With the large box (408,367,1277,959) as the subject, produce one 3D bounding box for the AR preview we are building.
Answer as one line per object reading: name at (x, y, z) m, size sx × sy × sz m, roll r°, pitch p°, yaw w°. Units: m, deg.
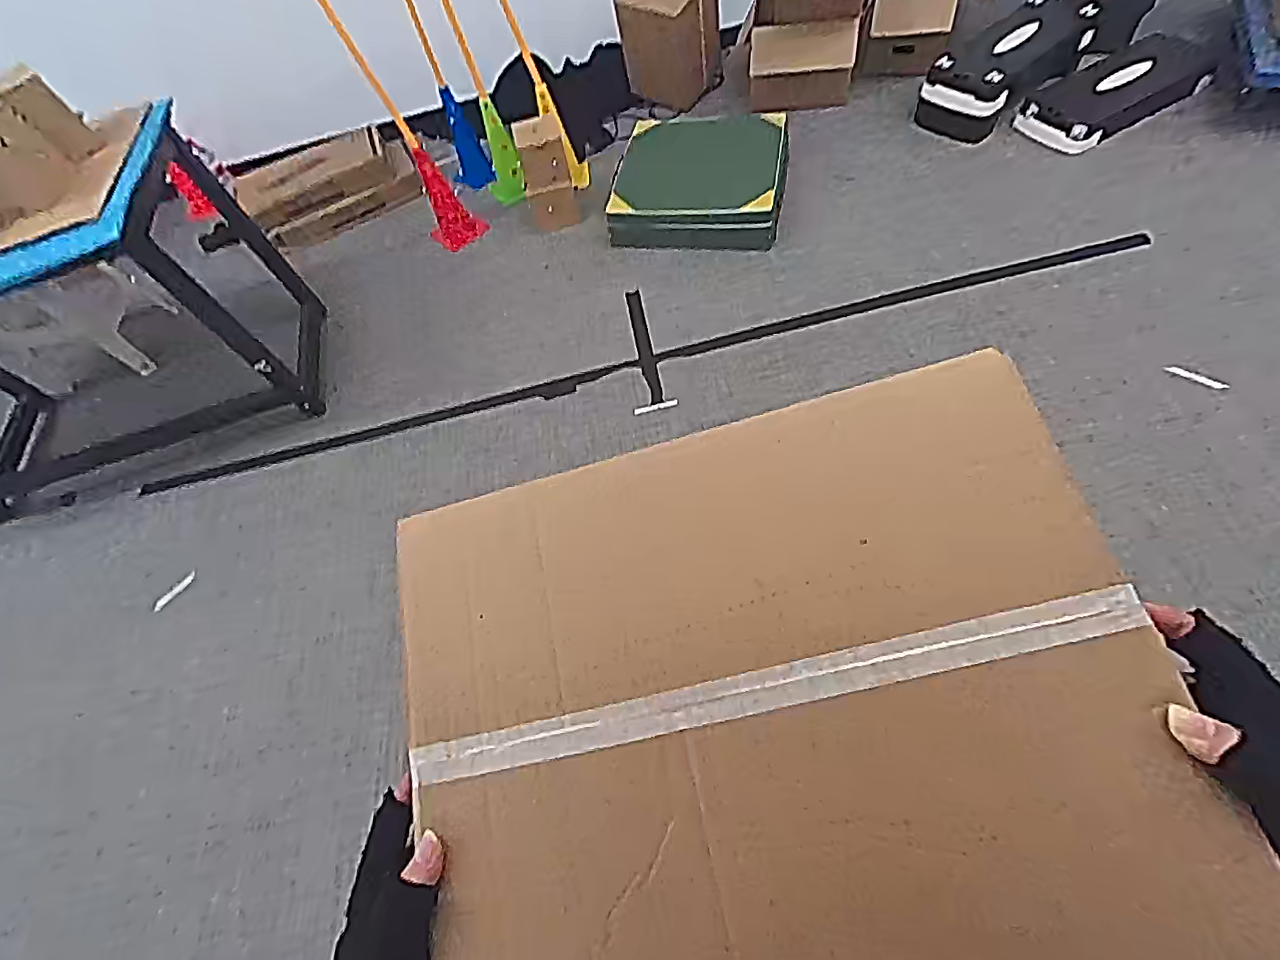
large box at (0.090, 0.166, 0.446) m, size 0.408 × 0.320 × 0.320 m, roll -17°, pitch 69°, yaw 8°
